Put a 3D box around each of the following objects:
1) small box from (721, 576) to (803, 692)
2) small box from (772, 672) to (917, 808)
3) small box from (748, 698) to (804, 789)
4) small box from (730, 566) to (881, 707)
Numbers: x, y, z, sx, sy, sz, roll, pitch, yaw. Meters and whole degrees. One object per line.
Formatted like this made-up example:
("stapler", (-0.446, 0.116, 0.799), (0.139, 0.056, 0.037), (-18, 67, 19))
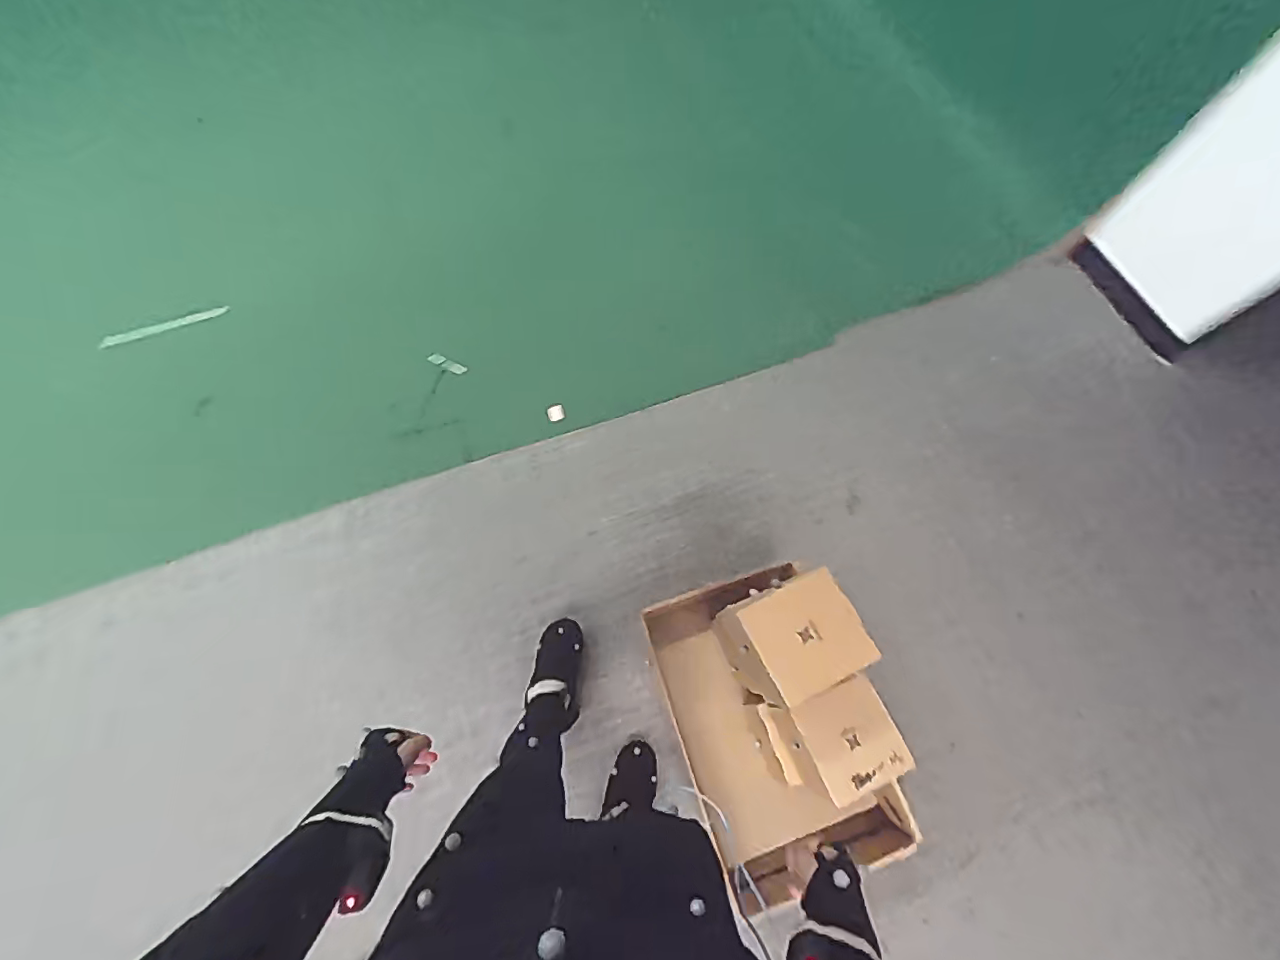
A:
("small box", (0.277, 0.314, 1.086), (0.168, 0.176, 0.179), (-21, 70, -7))
("small box", (0.371, 0.484, 1.021), (0.168, 0.176, 0.179), (-21, 68, -8))
("small box", (0.353, 0.544, 1.174), (0.179, 0.176, 0.168), (-17, 68, -6))
("small box", (0.267, 0.271, 0.929), (0.179, 0.176, 0.168), (-25, 72, -8))
